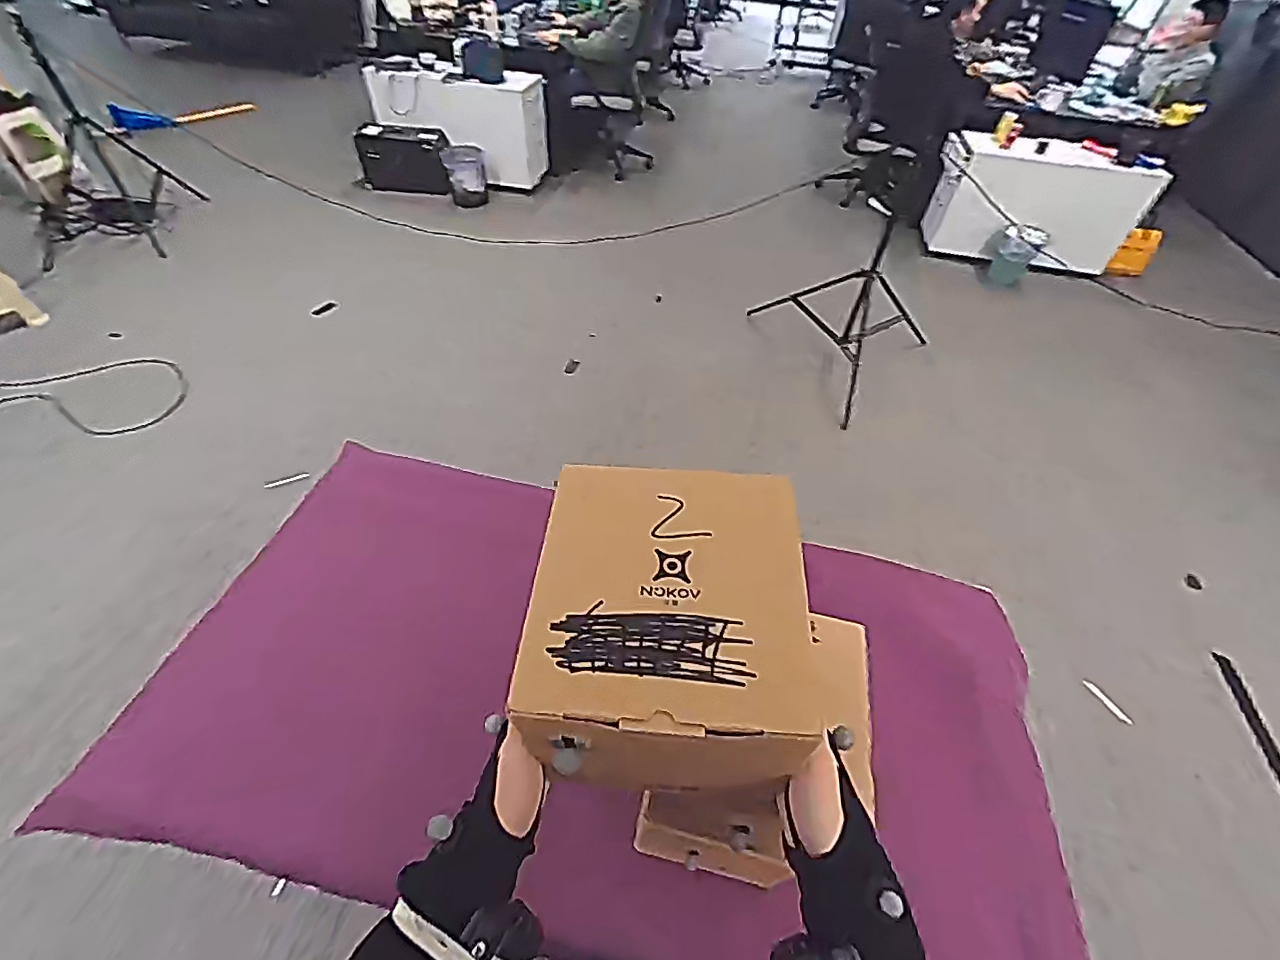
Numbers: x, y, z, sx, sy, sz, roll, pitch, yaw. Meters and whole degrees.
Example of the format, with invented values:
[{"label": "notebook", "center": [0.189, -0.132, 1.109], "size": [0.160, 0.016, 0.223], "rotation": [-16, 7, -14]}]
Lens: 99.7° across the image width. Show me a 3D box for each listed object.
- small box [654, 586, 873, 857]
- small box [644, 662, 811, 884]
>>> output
[{"label": "small box", "center": [0.111, 0.235, 0.522], "size": [0.168, 0.176, 0.179], "rotation": [12, 48, 7]}, {"label": "small box", "center": [0.101, 0.349, 0.640], "size": [0.168, 0.176, 0.179], "rotation": [11, 48, 6]}]
